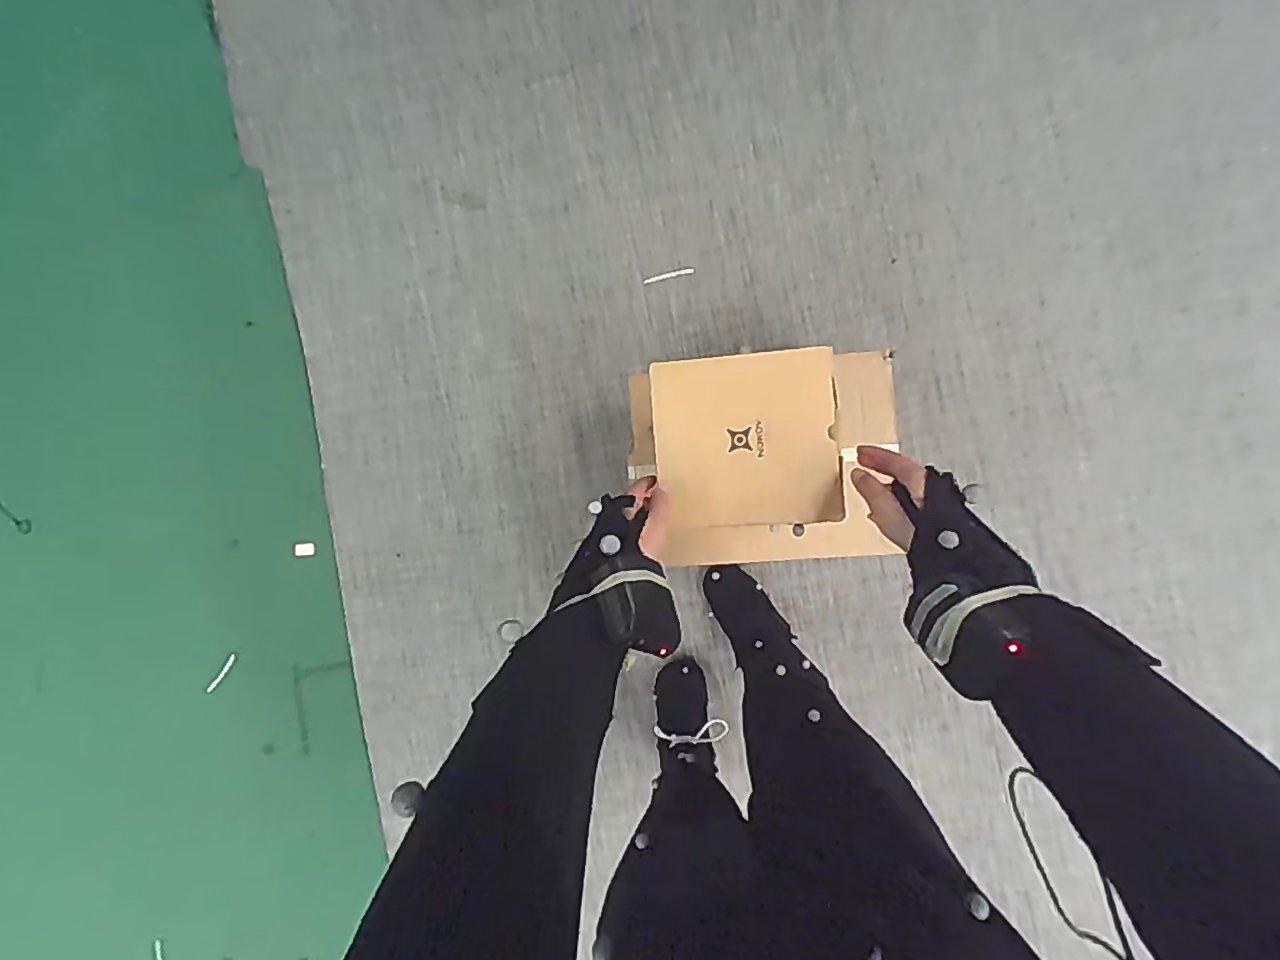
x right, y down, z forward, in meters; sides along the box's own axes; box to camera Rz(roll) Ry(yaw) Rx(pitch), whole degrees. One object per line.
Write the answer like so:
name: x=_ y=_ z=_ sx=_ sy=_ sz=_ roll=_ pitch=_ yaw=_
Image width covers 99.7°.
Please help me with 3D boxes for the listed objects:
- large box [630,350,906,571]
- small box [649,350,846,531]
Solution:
large box: x=0.208 y=-0.025 z=0.987 sx=0.408 sy=0.320 sz=0.320 roll=-5 pitch=90 yaw=6
small box: x=0.110 y=-0.033 z=0.592 sx=0.179 sy=0.176 sz=0.168 roll=-5 pitch=88 yaw=6
